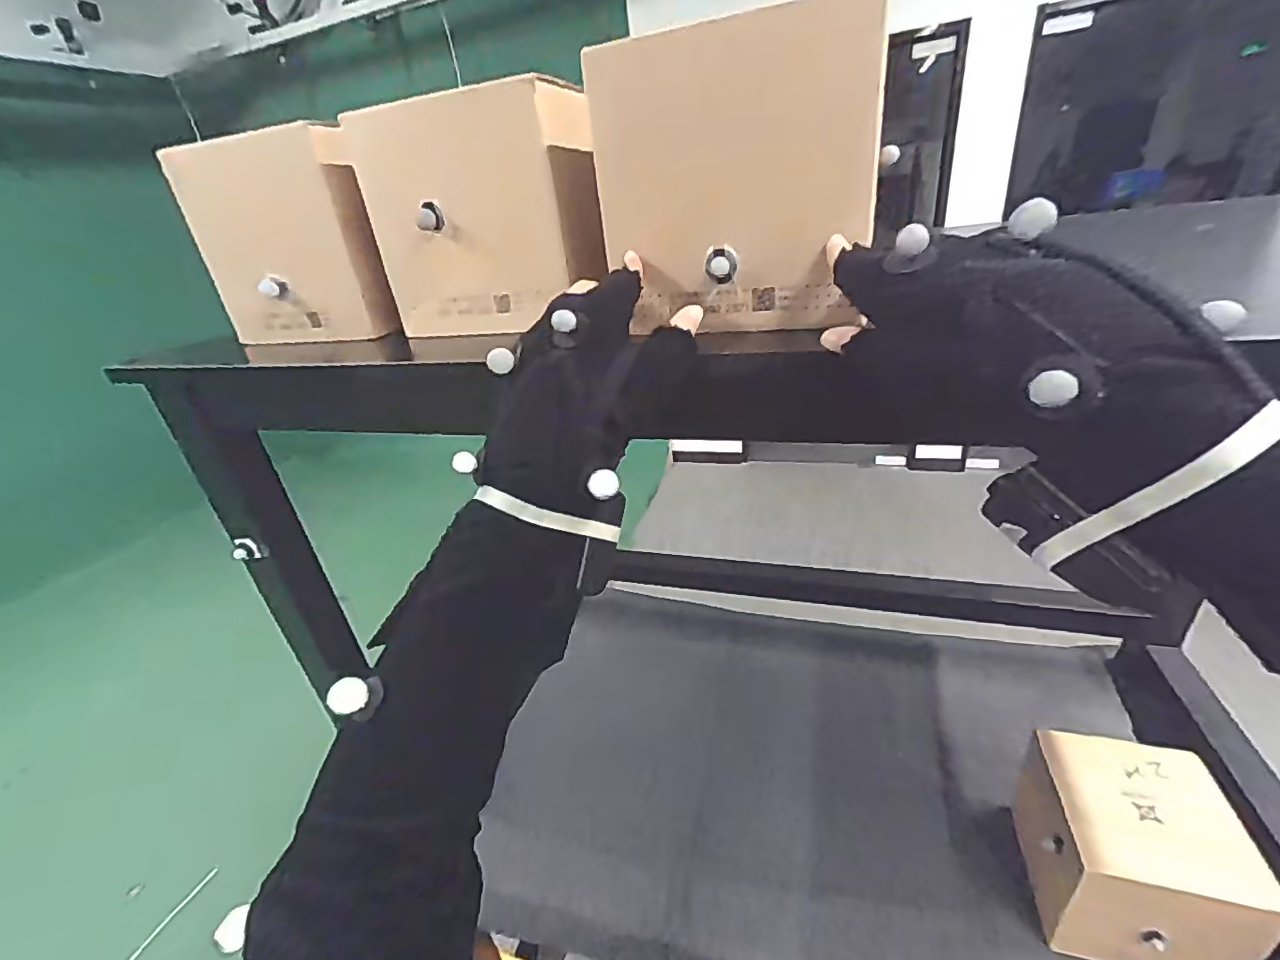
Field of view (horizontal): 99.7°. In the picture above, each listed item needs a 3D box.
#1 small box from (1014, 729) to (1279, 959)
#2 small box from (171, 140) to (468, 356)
[{"bbox_3d":[0.566,0.434,0.632,0.168,0.176,0.179,3,28,19],"label":"small box"},{"bbox_3d":[-0.297,-0.231,0.547,0.168,0.176,0.179,2,29,18],"label":"small box"}]
